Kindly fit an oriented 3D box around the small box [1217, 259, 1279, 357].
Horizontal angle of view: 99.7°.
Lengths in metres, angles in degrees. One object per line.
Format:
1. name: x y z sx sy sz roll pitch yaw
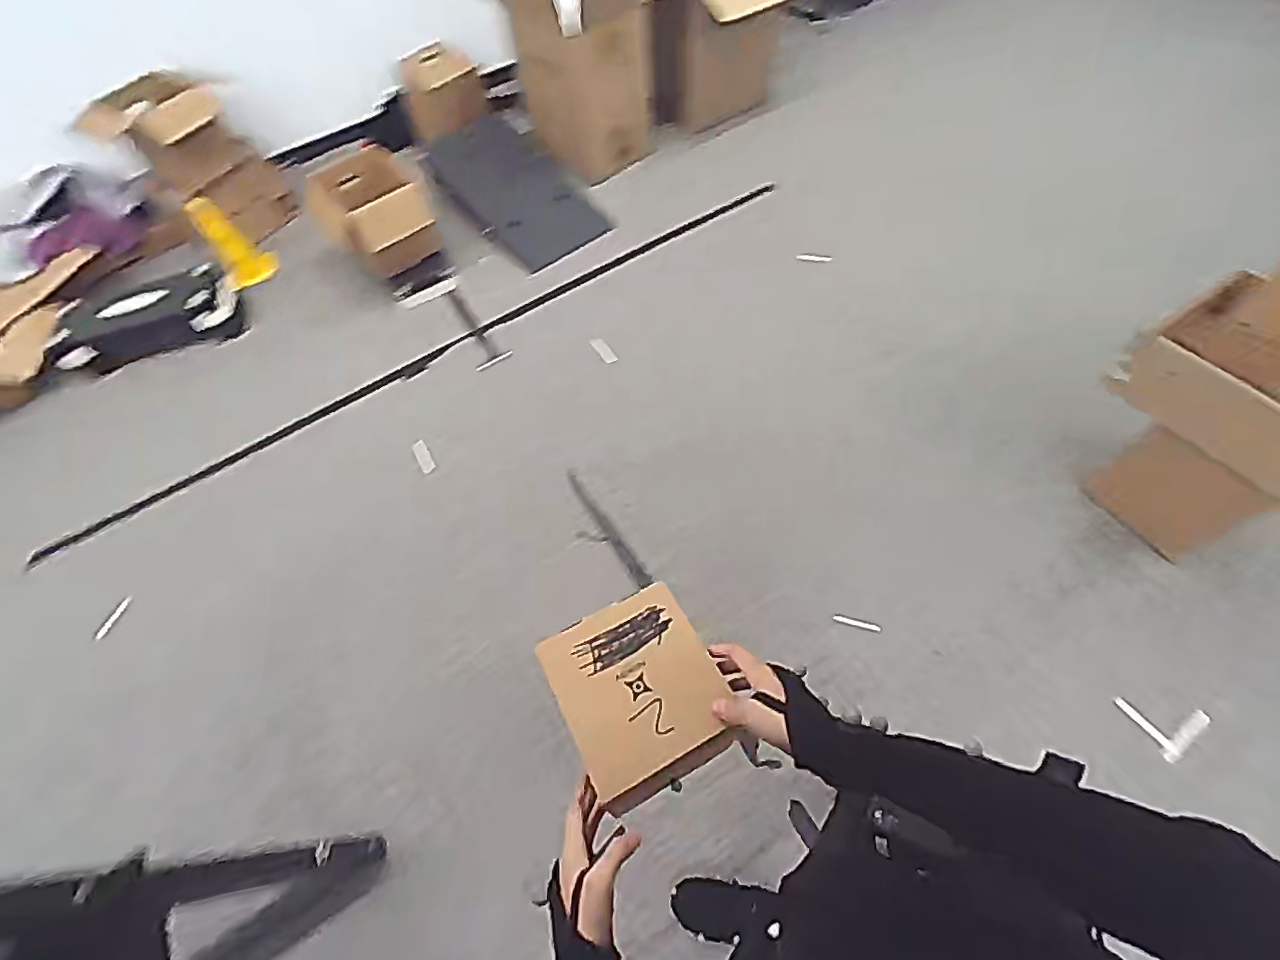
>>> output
1. small box: 1.432 -0.393 1.171 0.179 0.176 0.168 -34 61 -16
